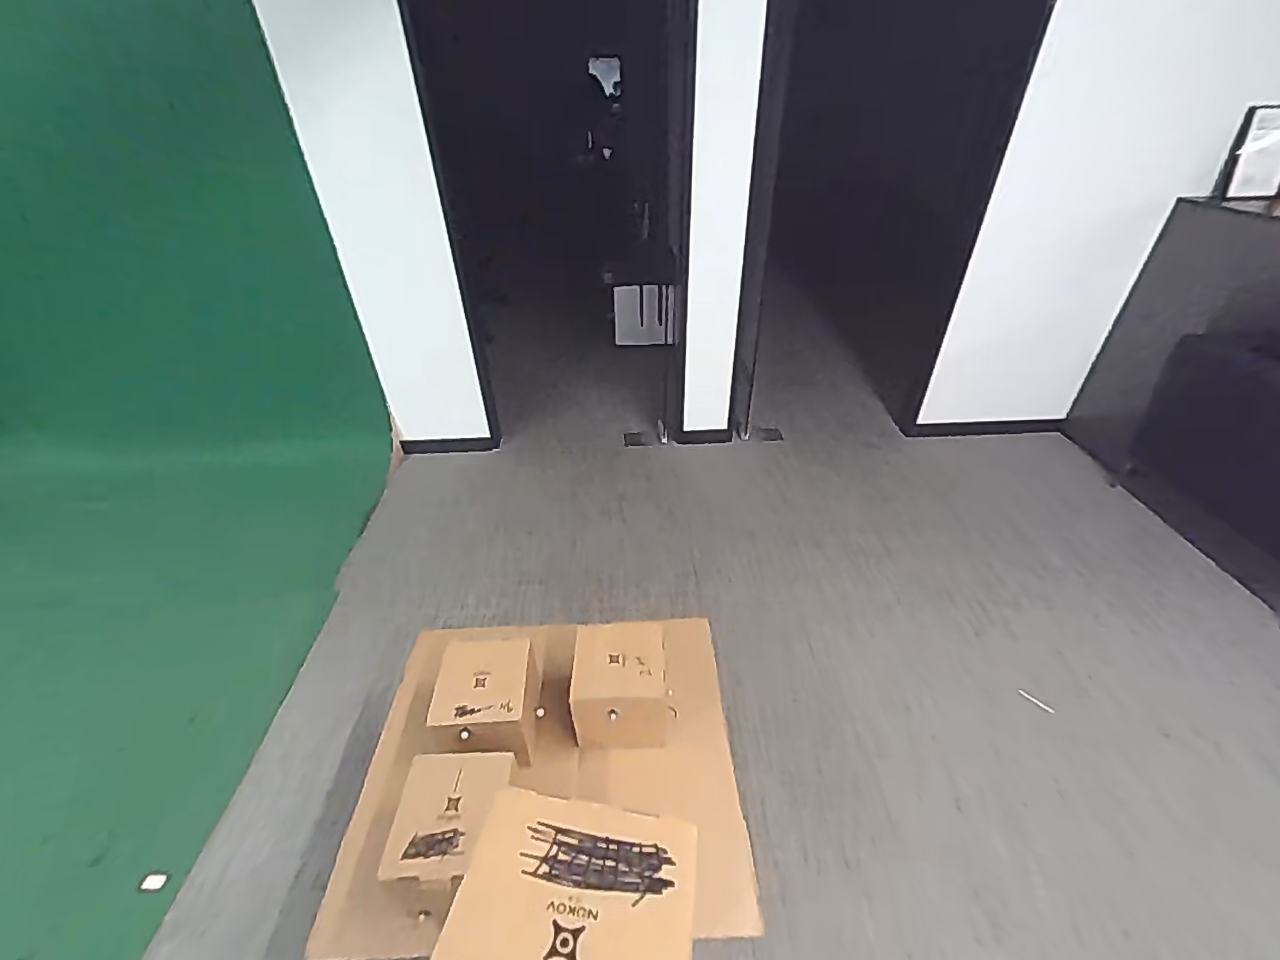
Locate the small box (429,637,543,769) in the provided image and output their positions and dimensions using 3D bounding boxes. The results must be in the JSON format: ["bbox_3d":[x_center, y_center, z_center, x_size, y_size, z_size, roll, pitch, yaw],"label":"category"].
[{"bbox_3d":[-0.285,0.432,1.045,0.168,0.176,0.179,-4,35,-1],"label":"small box"}]

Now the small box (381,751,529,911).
[{"bbox_3d":[-0.280,0.563,0.867,0.168,0.176,0.179,-2,36,0],"label":"small box"}]

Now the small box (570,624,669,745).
[{"bbox_3d":[-0.034,0.406,1.073,0.179,0.176,0.168,-2,36,2],"label":"small box"}]
